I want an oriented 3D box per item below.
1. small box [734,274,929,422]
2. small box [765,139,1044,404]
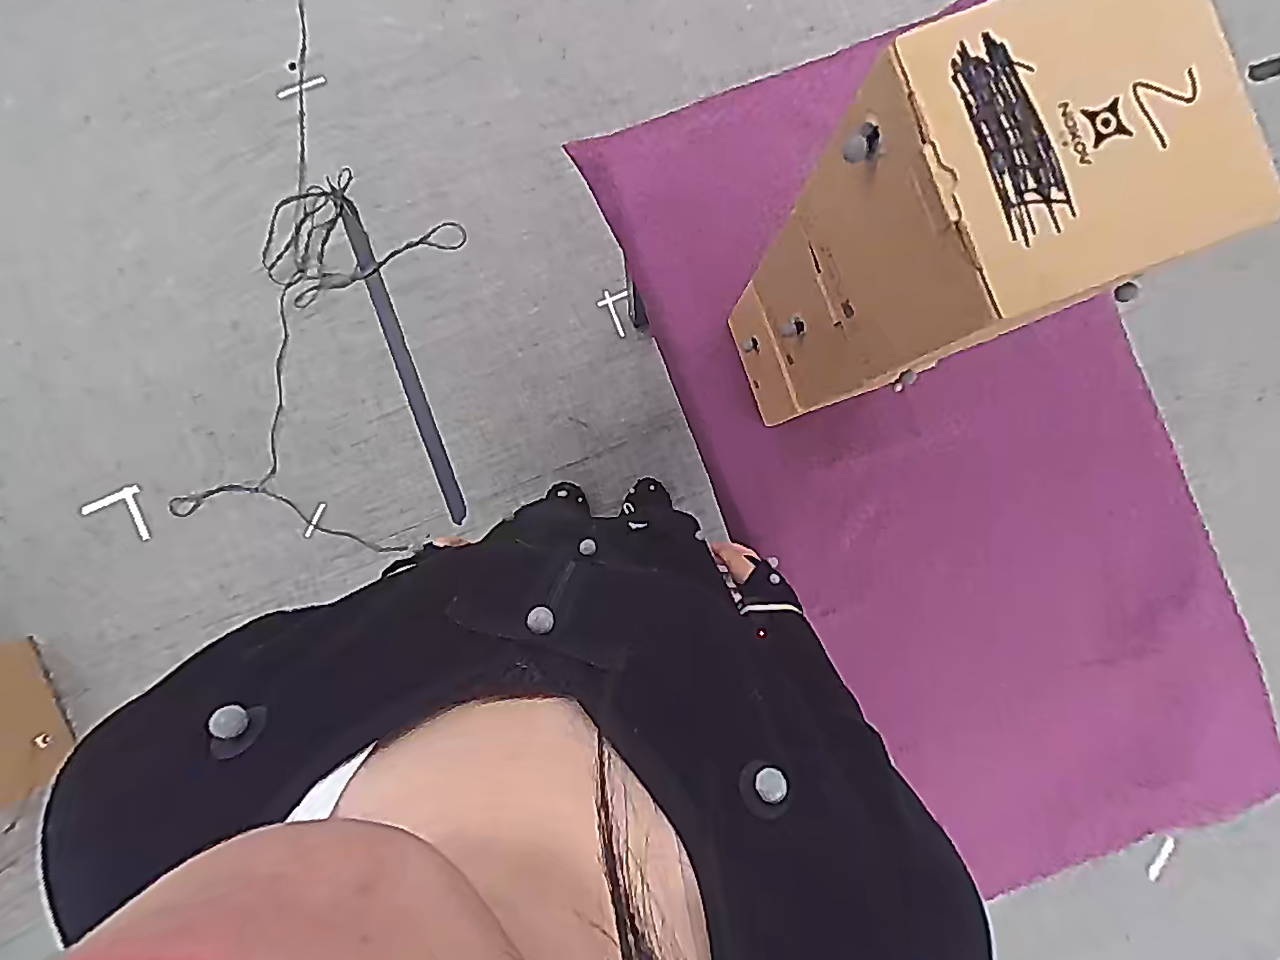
[{"bbox_3d":[0.234,-0.184,0.710,0.179,0.176,0.168,-20,90,-1],"label":"small box"},{"bbox_3d":[0.240,-0.189,0.546,0.179,0.176,0.168,-22,90,0],"label":"small box"}]
